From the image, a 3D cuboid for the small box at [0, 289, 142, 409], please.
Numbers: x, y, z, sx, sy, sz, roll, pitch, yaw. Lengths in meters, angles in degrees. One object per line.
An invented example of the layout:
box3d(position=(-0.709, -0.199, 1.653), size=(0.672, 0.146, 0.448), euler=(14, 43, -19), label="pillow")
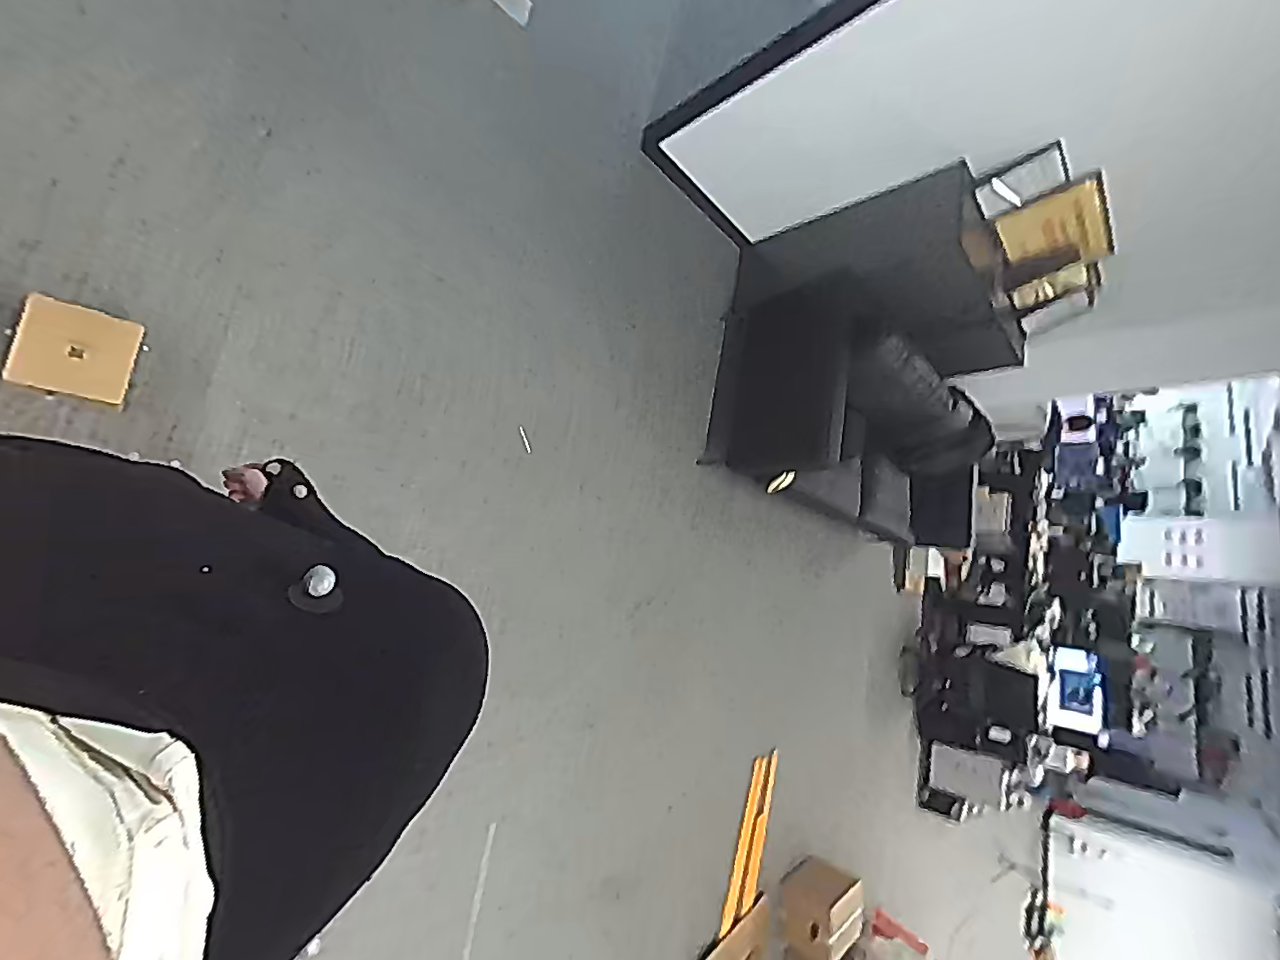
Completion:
box3d(position=(-1.153, -0.255, 1.106), size=(0.168, 0.176, 0.179), euler=(17, 76, -44), label="small box")
